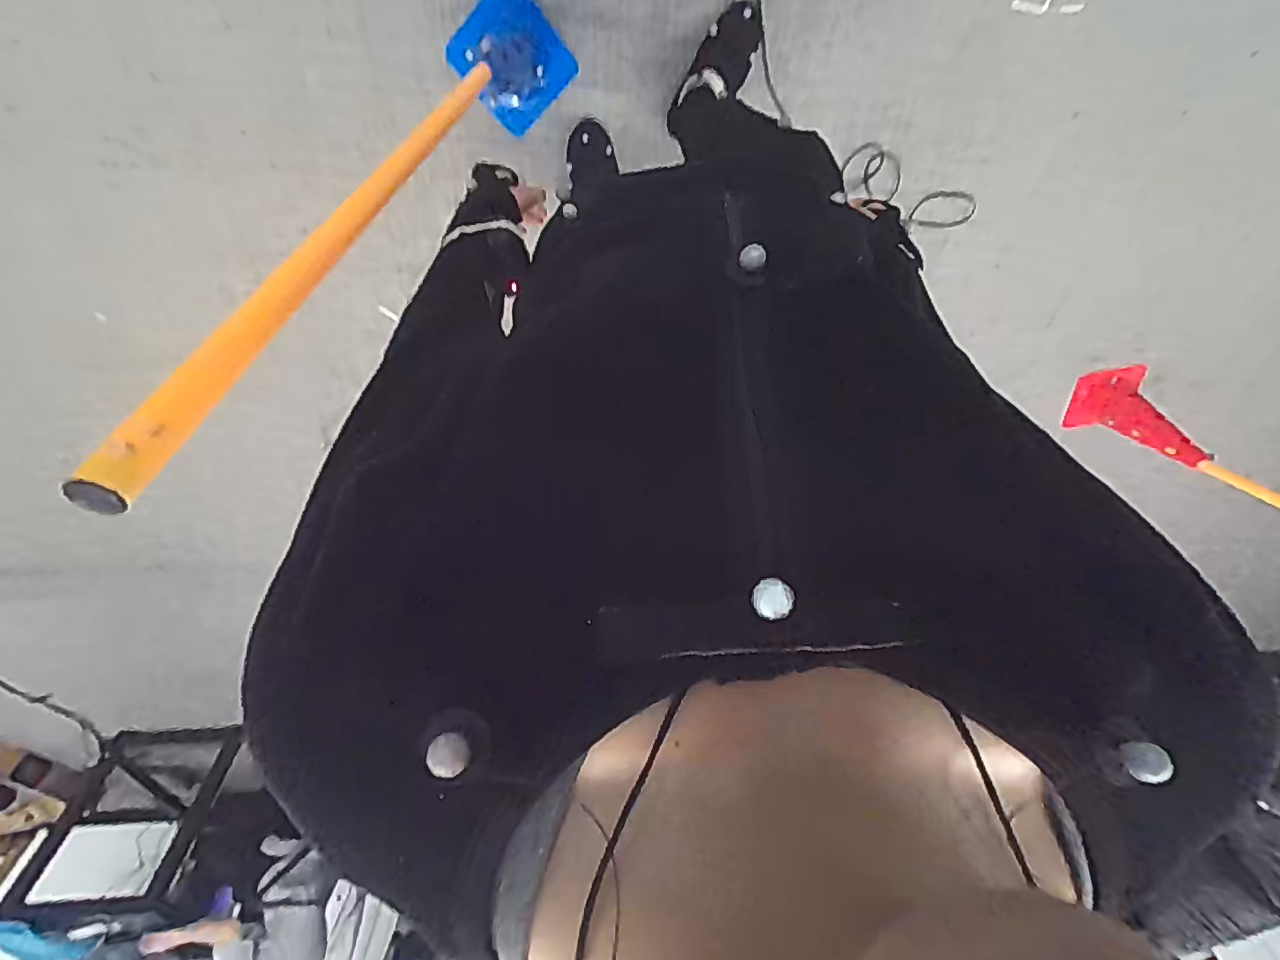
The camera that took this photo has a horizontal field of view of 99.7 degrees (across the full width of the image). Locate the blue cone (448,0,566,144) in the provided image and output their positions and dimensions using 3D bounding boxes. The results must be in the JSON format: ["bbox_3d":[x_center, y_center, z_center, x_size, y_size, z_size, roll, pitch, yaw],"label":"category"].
[{"bbox_3d":[-0.254,-0.693,0.944,0.193,0.380,0.192,-35,124,24],"label":"blue cone"}]
